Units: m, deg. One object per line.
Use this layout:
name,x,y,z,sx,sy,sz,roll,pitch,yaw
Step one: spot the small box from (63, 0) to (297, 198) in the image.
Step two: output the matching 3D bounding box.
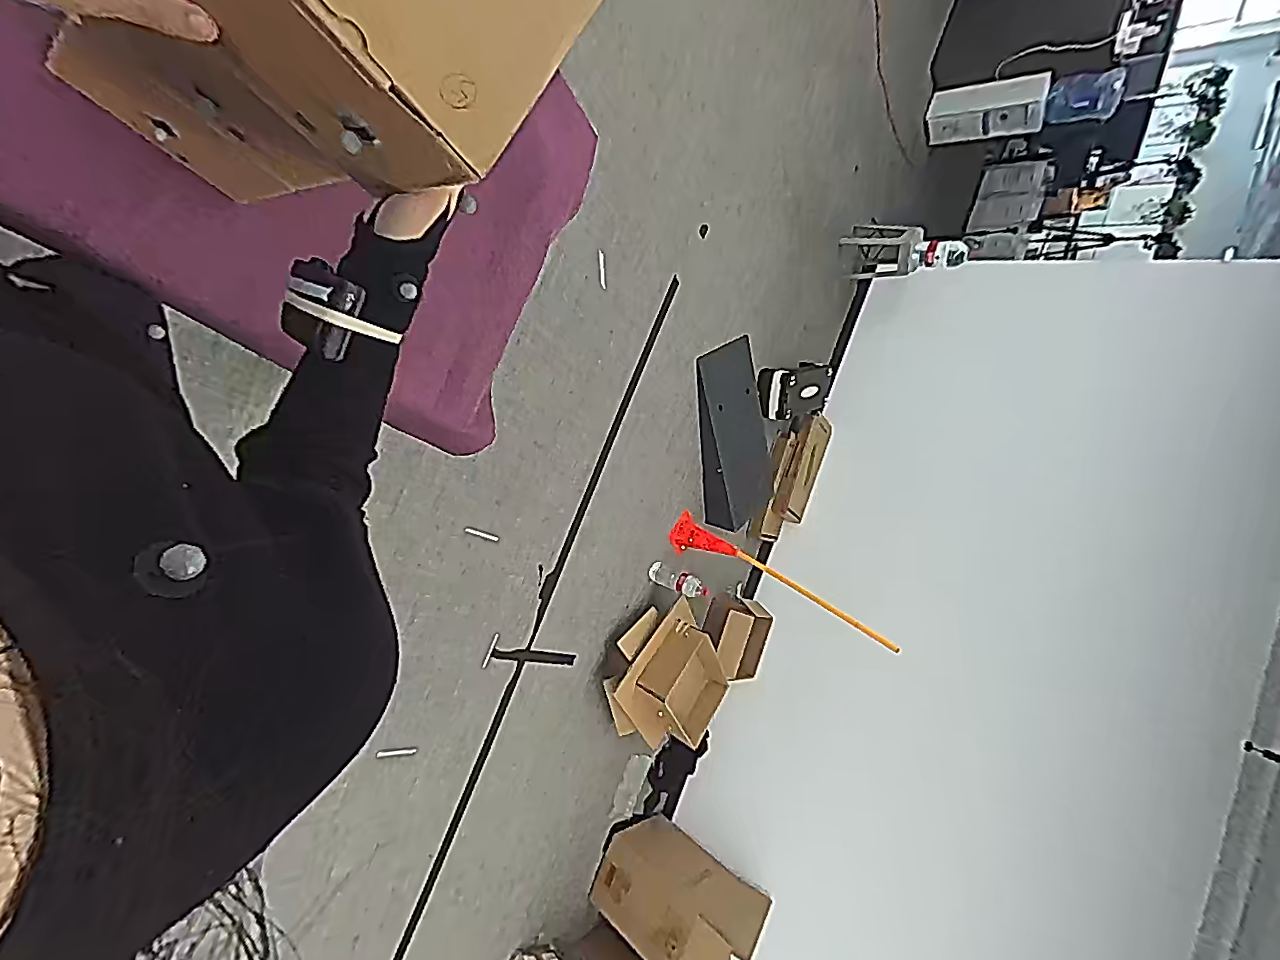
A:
small box,-0.404,-0.403,0.524,0.168,0.176,0.179,36,74,-52

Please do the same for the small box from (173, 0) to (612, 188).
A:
small box,-0.146,-0.299,0.315,0.168,0.176,0.179,37,78,-50

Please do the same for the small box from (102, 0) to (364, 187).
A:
small box,-0.274,-0.367,0.430,0.168,0.176,0.179,36,76,-52
